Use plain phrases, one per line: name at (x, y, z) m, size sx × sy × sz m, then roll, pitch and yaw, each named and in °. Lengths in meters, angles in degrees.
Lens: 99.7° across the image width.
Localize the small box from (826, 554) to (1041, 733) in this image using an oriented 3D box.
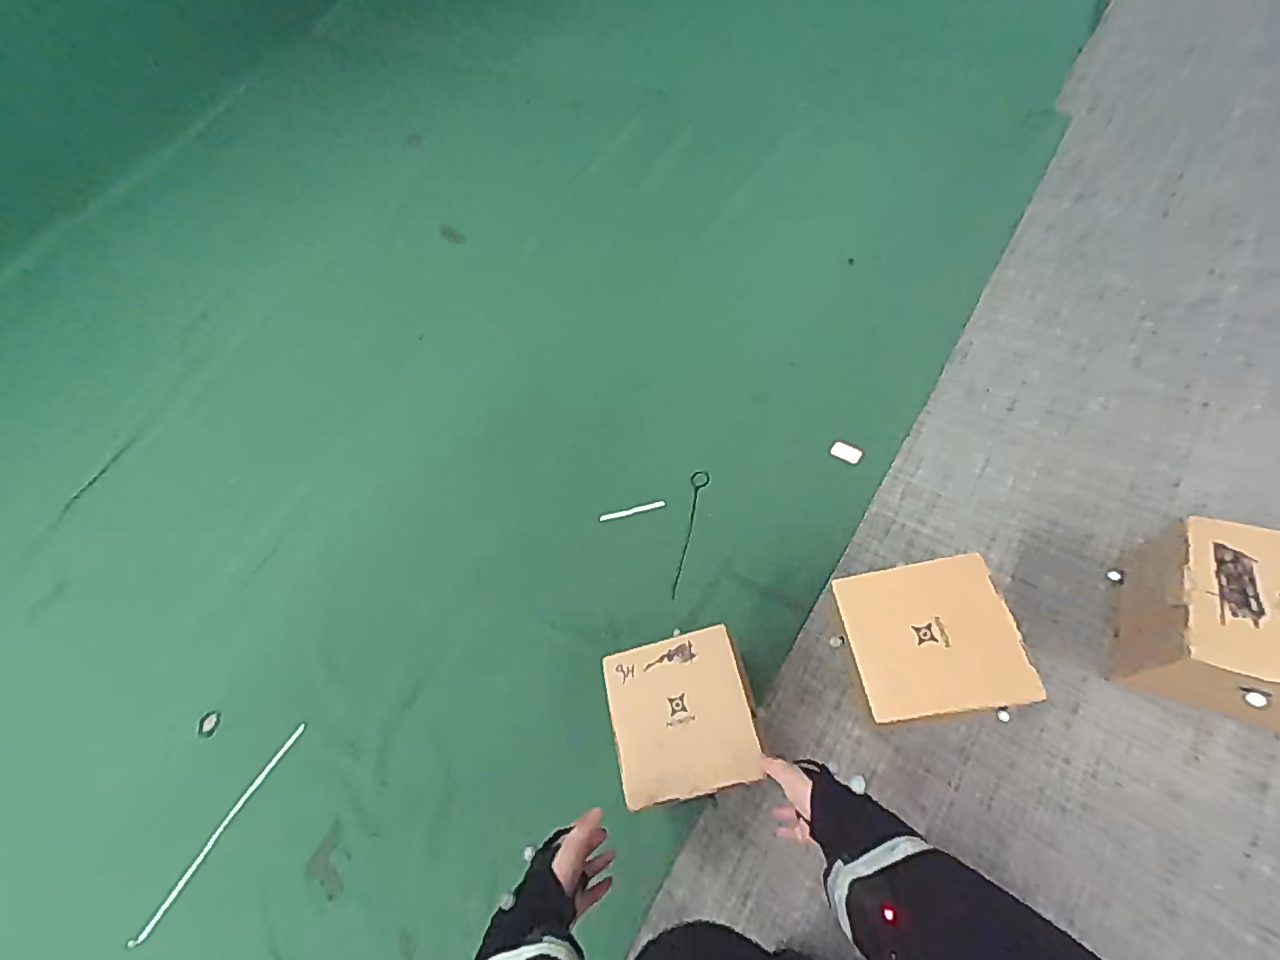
small box at (0.343, 0.213, 0.677) m, size 0.179 × 0.176 × 0.168 m, roll -14°, pitch 59°, yaw 9°

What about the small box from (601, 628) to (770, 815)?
small box at (0.064, 0.313, 0.705) m, size 0.168 × 0.176 × 0.179 m, roll -18°, pitch 60°, yaw 7°
